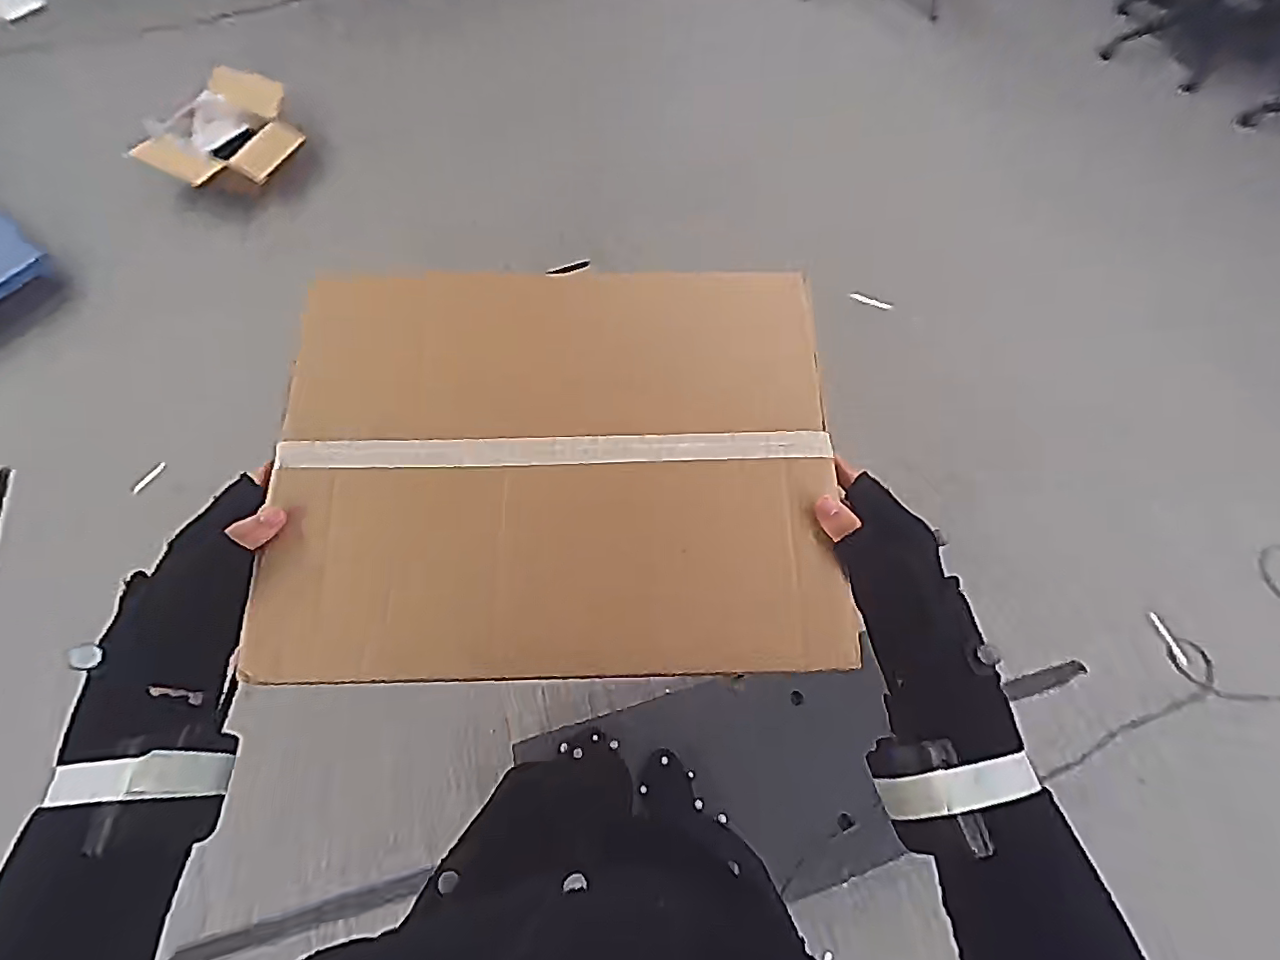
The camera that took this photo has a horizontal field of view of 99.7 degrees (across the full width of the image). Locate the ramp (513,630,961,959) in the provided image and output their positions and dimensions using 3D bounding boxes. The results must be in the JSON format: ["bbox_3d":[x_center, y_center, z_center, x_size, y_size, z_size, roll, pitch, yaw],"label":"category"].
[{"bbox_3d":[0.239,0.726,1.298,0.991,0.206,0.509,-18,65,-5],"label":"ramp"}]

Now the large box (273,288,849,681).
[{"bbox_3d":[-0.055,0.030,0.555,0.408,0.320,0.320,0,72,0],"label":"large box"}]
